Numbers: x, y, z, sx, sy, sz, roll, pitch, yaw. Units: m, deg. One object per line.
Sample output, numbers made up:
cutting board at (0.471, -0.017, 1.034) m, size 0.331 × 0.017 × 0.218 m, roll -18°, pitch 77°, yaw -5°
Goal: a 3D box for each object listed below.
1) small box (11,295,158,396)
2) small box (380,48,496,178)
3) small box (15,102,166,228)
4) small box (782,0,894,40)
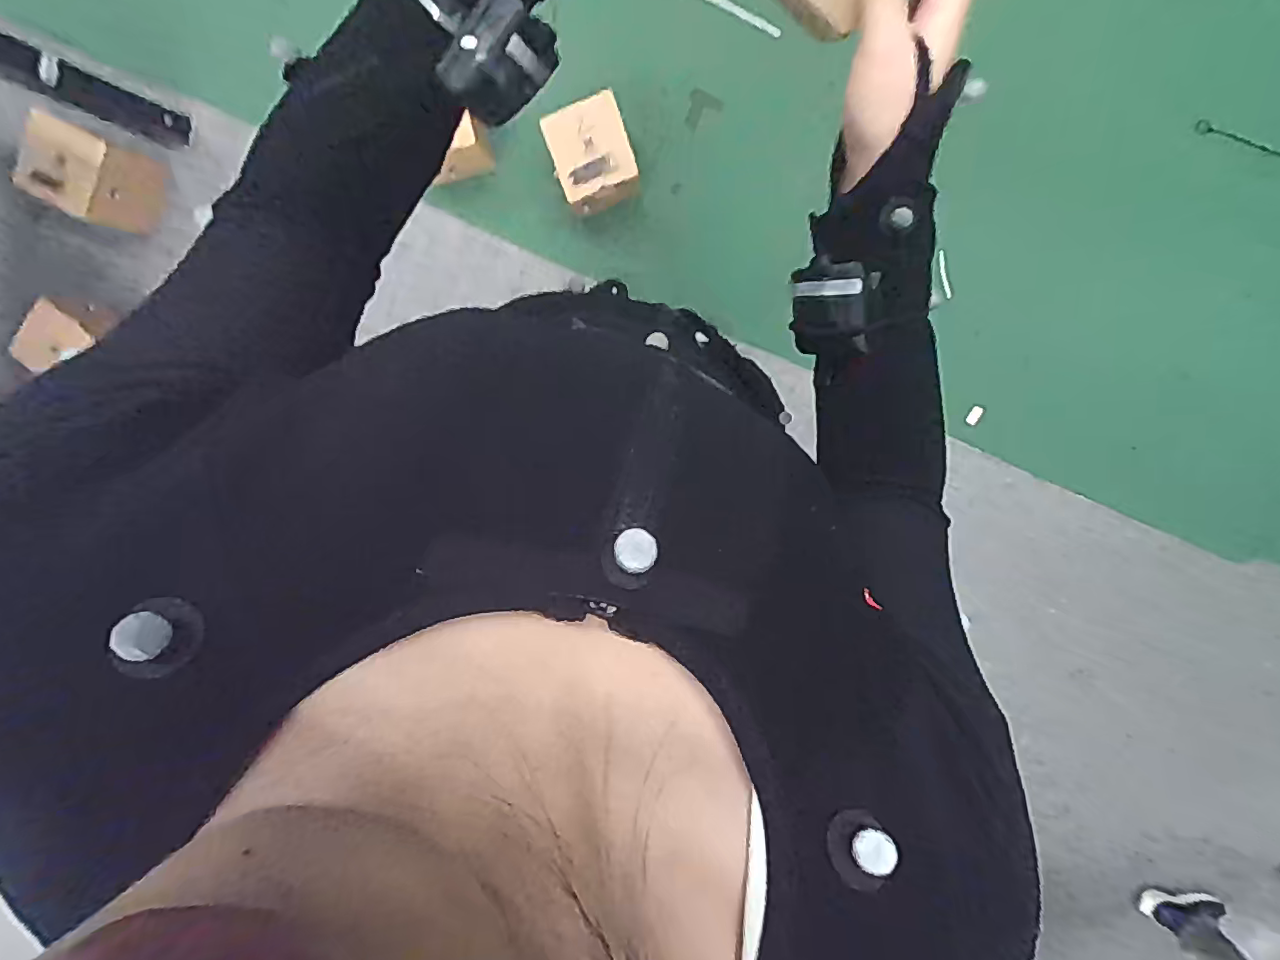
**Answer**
small box at (-1.377, -0.338, 1.356) m, size 0.168 × 0.176 × 0.179 m, roll 42°, pitch 104°, yaw -9°
small box at (-0.441, -0.806, 1.207) m, size 0.168 × 0.176 × 0.179 m, roll -12°, pitch 105°, yaw 4°
small box at (-1.256, -0.711, 1.249) m, size 0.168 × 0.176 × 0.179 m, roll 27°, pitch 103°, yaw -7°
small box at (0.116, -0.391, 0.304) m, size 0.179 × 0.176 × 0.168 m, roll 33°, pitch 128°, yaw -15°
